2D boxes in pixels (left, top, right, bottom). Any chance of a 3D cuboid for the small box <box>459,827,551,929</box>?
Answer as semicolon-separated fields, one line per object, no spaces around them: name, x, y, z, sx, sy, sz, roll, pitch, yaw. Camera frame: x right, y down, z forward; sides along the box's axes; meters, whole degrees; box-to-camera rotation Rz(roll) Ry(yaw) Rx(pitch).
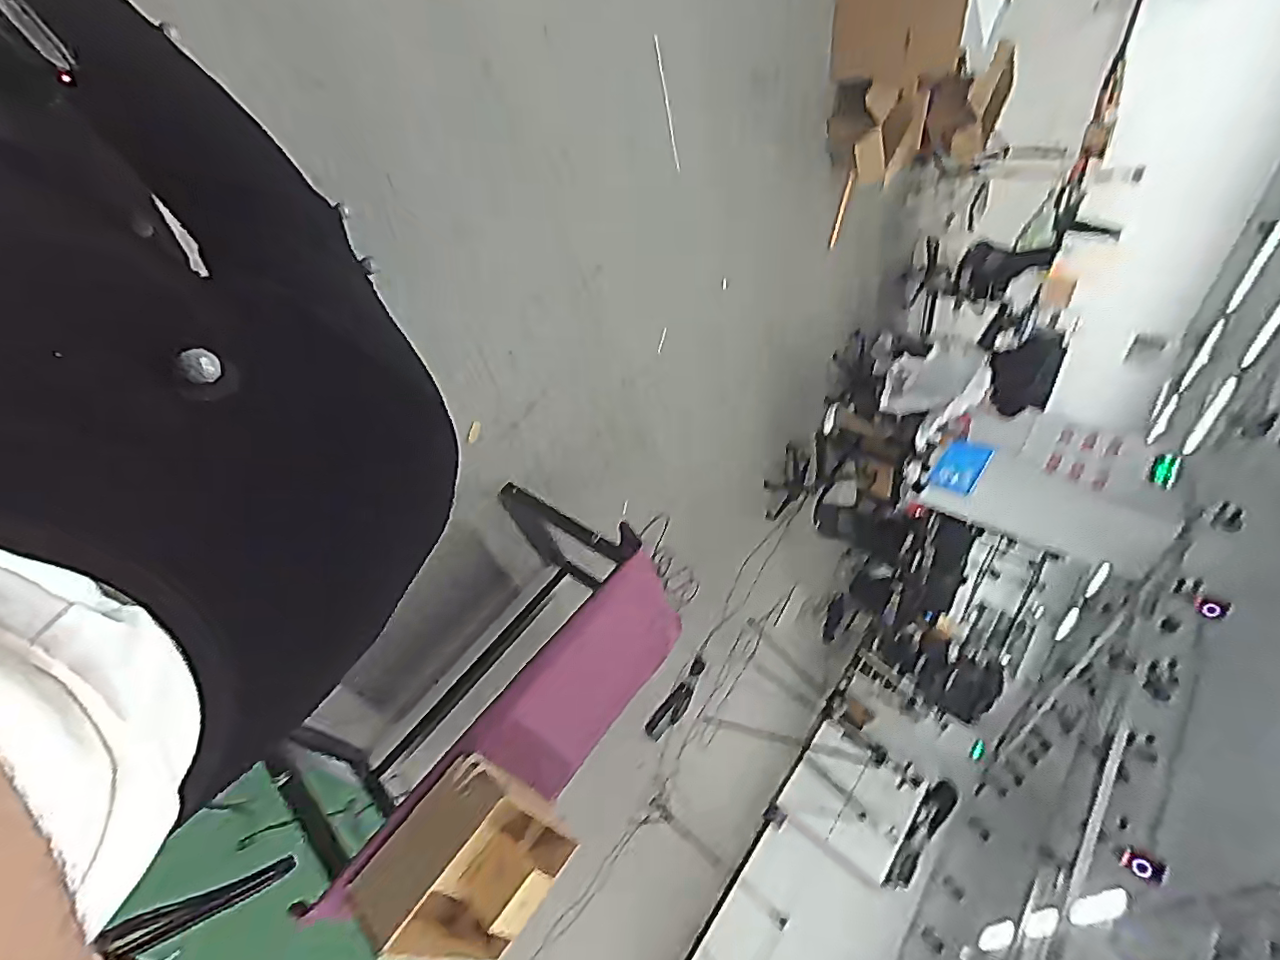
small box;-0.400;1.168;1.595;0.168;0.176;0.179;-47;141;-27
